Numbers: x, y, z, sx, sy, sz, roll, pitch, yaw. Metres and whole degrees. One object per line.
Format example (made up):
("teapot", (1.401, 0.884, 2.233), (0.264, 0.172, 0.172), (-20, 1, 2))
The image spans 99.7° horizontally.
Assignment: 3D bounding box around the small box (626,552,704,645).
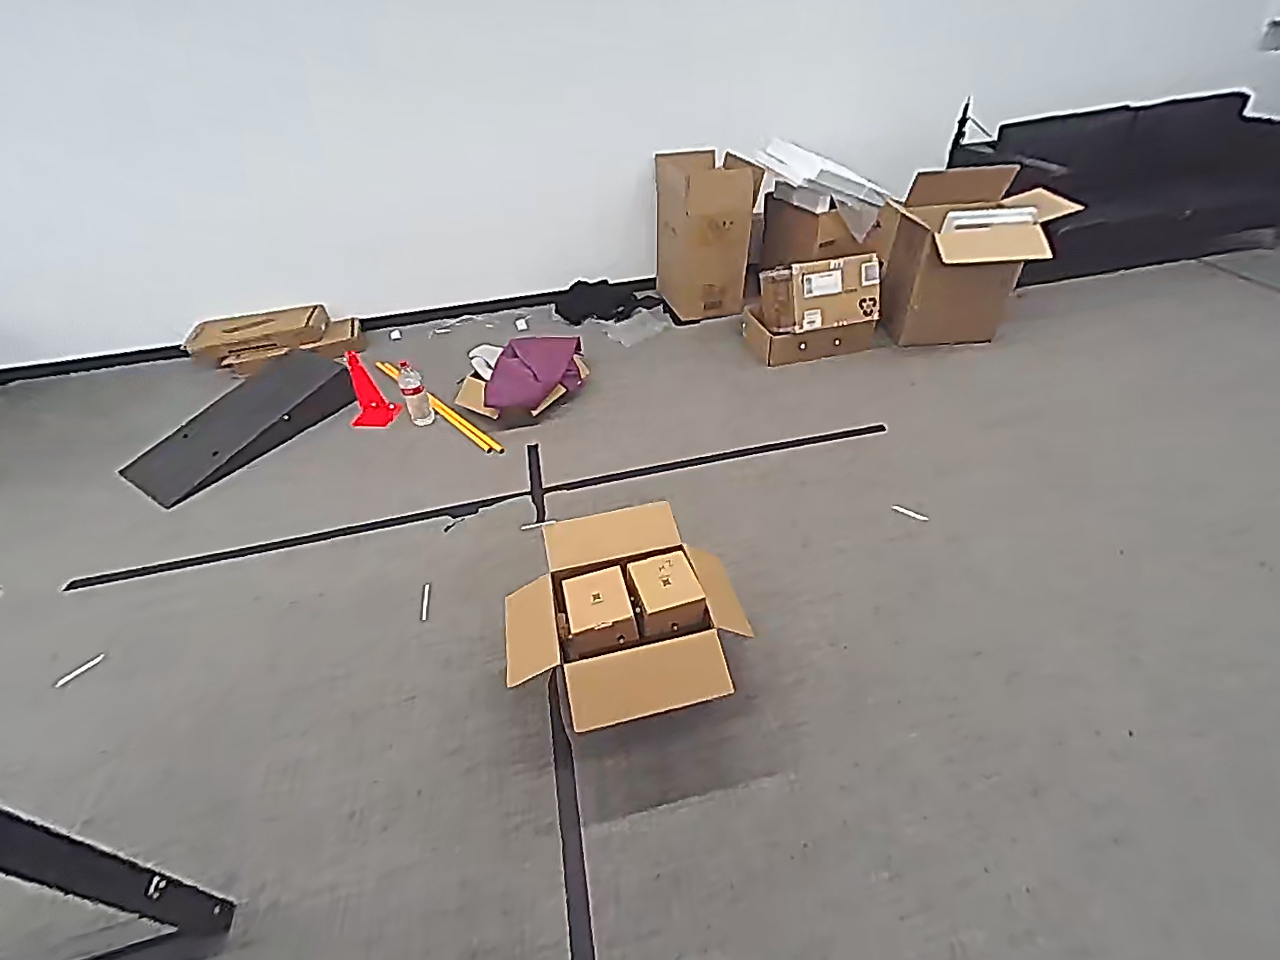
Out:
("small box", (0.065, 0.335, 1.504), (0.168, 0.176, 0.179), (-12, 42, -15))
